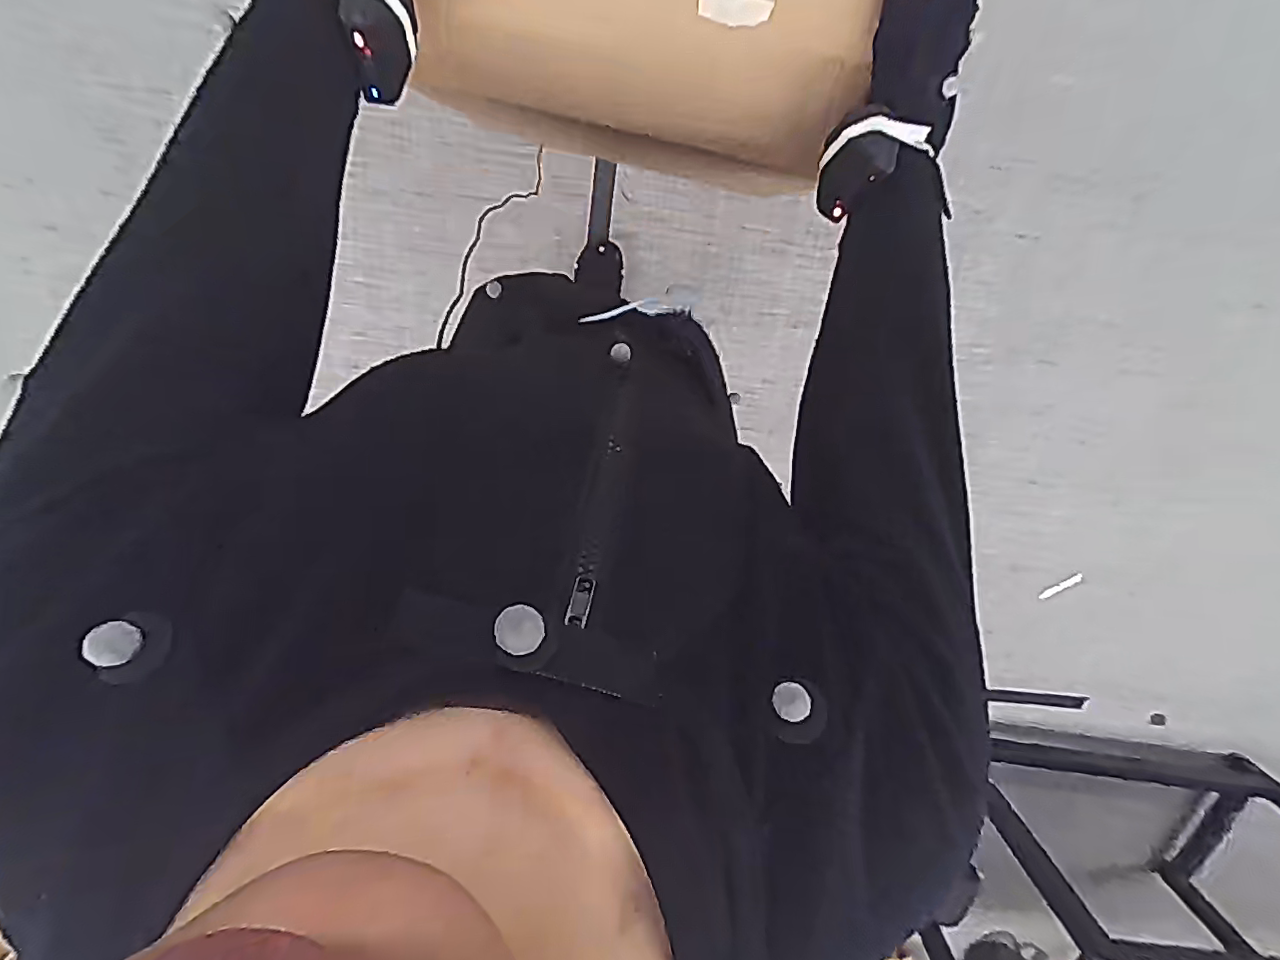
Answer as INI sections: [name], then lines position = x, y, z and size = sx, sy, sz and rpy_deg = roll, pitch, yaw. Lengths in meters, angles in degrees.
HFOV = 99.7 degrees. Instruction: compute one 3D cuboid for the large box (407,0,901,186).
[large box]
position = 0.020, -0.513, 0.544
size = 0.408, 0.320, 0.320
rpy_deg = 10, 117, -7
